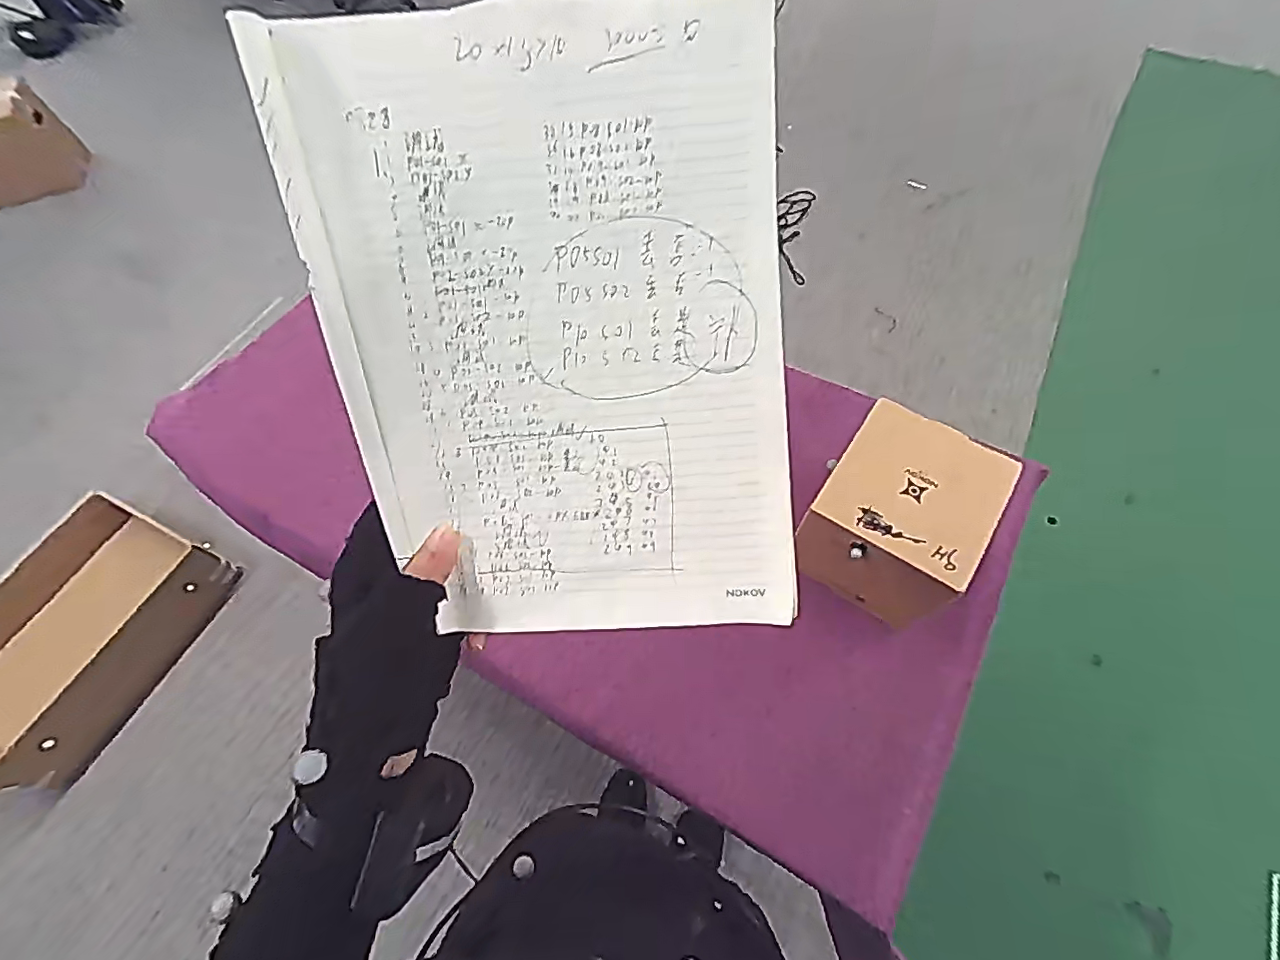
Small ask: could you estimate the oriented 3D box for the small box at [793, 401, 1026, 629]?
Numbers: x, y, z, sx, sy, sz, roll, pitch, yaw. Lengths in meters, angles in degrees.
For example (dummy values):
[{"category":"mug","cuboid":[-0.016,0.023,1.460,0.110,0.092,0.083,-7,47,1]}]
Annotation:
[{"category":"small box","cuboid":[0.302,0.047,0.642,0.168,0.176,0.179,32,68,19]}]
